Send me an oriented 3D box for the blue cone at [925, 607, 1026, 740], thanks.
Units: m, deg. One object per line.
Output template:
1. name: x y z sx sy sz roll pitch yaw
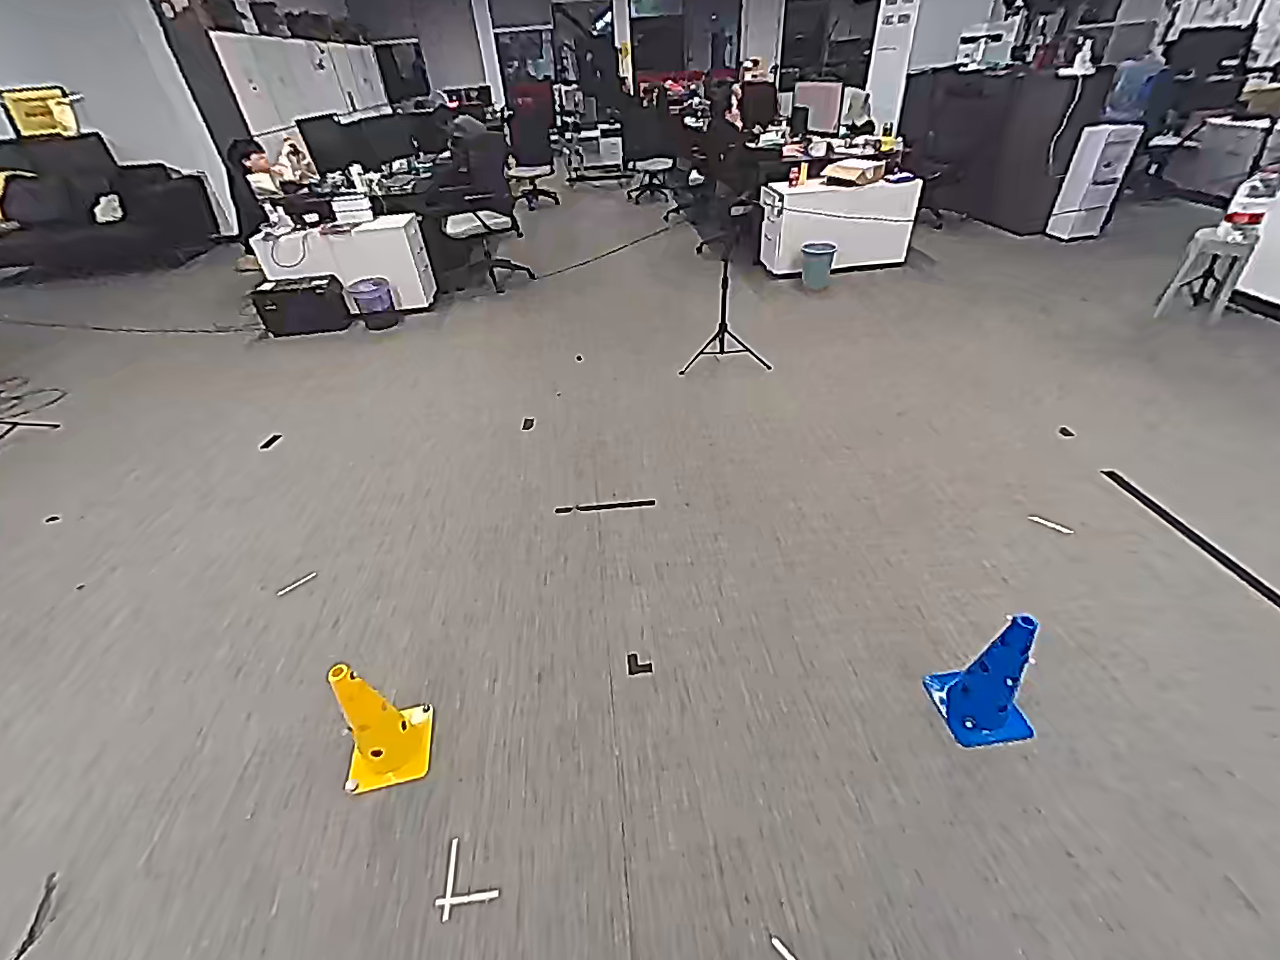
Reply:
1. blue cone: 0.869 0.456 1.327 0.193 0.380 0.192 -6 36 -2
